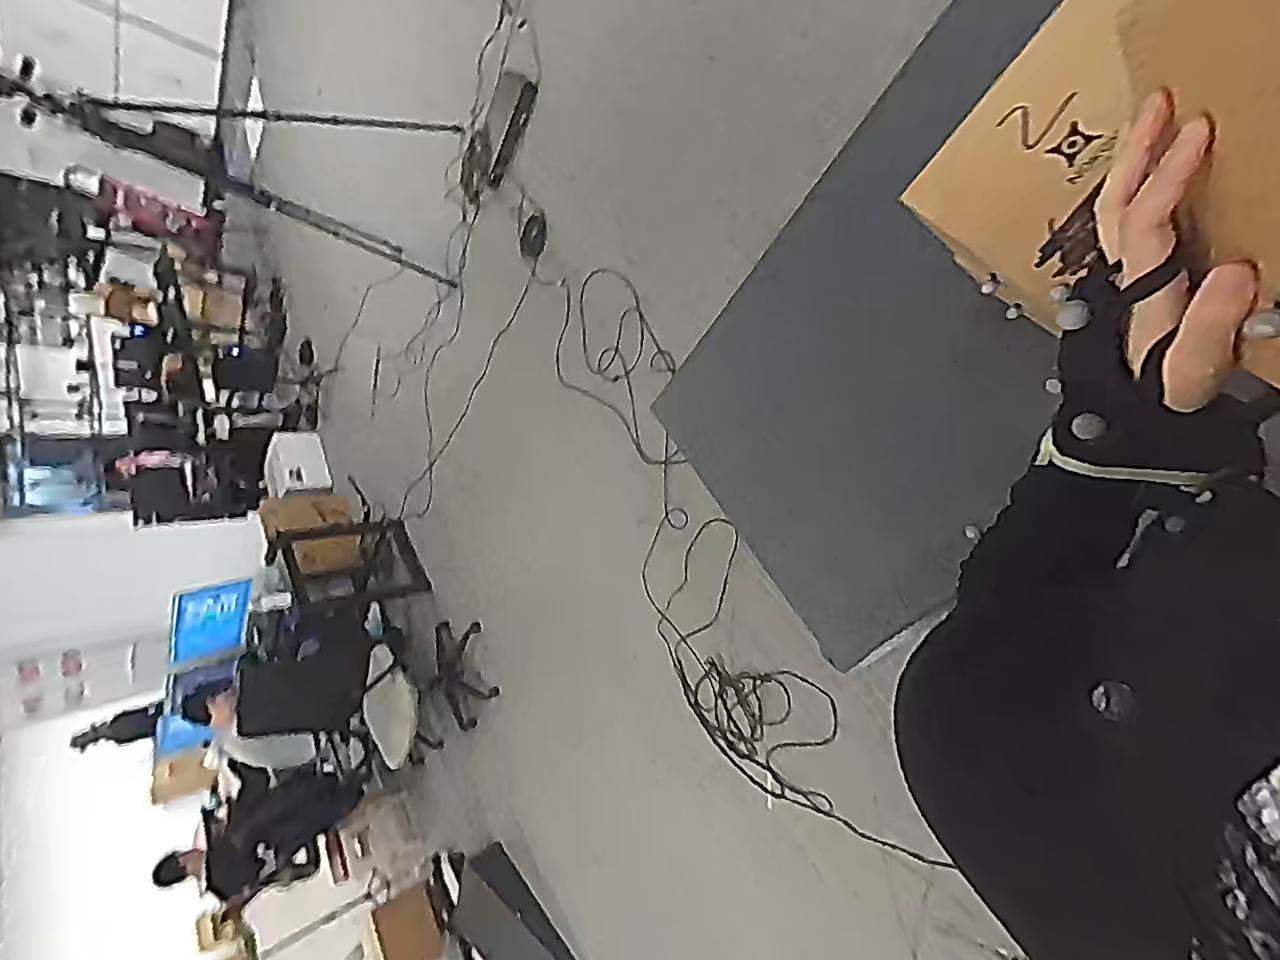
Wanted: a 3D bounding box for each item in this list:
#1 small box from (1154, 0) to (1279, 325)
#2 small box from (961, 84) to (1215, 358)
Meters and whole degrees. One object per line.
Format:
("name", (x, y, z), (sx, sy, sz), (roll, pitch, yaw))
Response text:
("small box", (0.309, -0.151, 0.171), (0.168, 0.176, 0.179), (-17, 111, 32))
("small box", (0.470, -0.238, 0.535), (0.179, 0.176, 0.168), (53, 126, 29))
